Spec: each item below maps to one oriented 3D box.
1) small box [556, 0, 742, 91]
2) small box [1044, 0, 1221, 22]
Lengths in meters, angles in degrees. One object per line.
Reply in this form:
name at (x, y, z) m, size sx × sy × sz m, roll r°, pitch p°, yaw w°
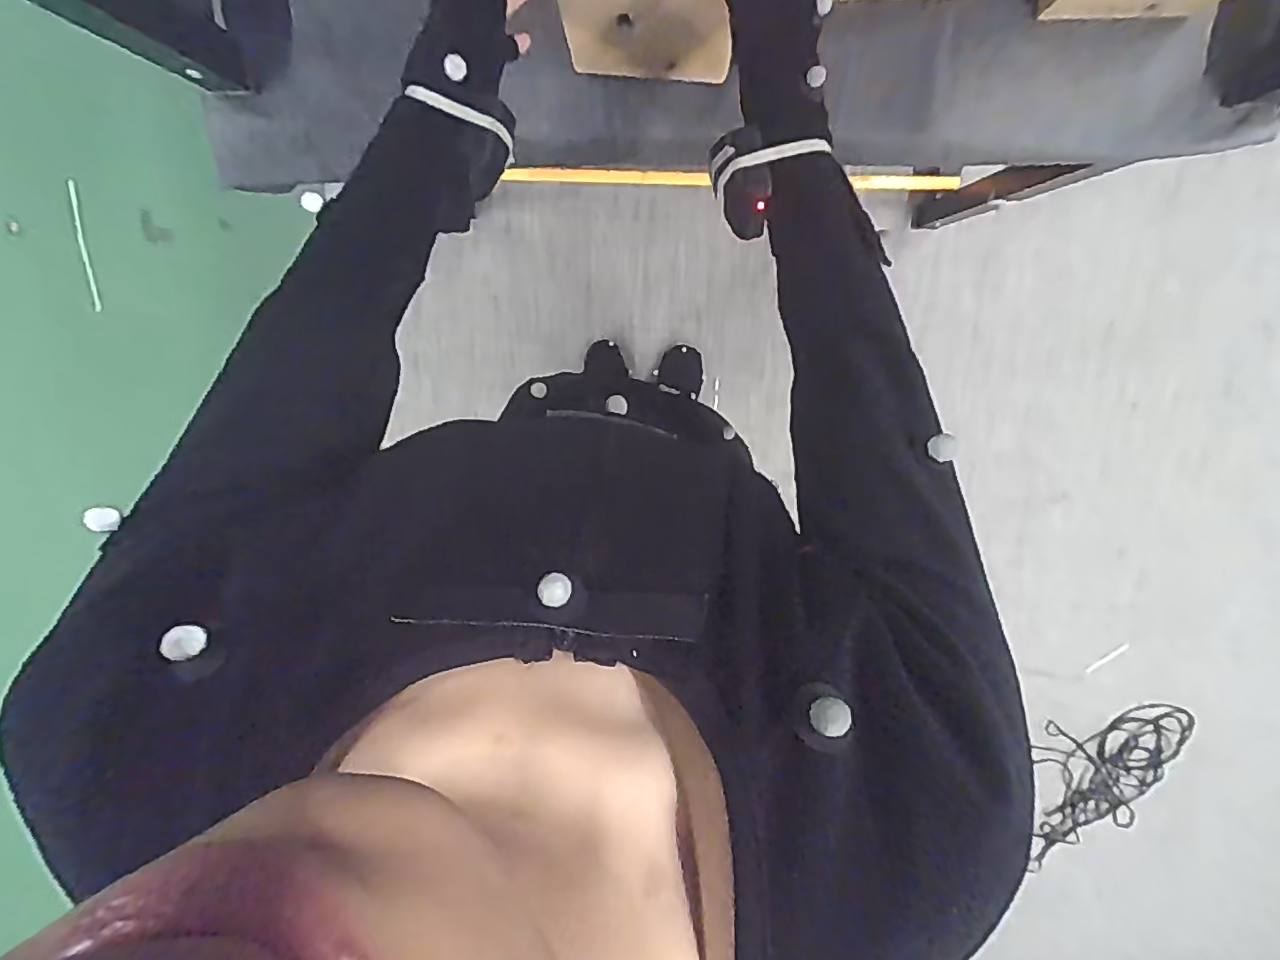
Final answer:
small box at (0.018, -0.505, 0.508) m, size 0.168 × 0.176 × 0.179 m, roll 5°, pitch 100°, yaw 1°
small box at (0.502, -0.547, 0.480) m, size 0.168 × 0.176 × 0.179 m, roll 1°, pitch 105°, yaw 2°
